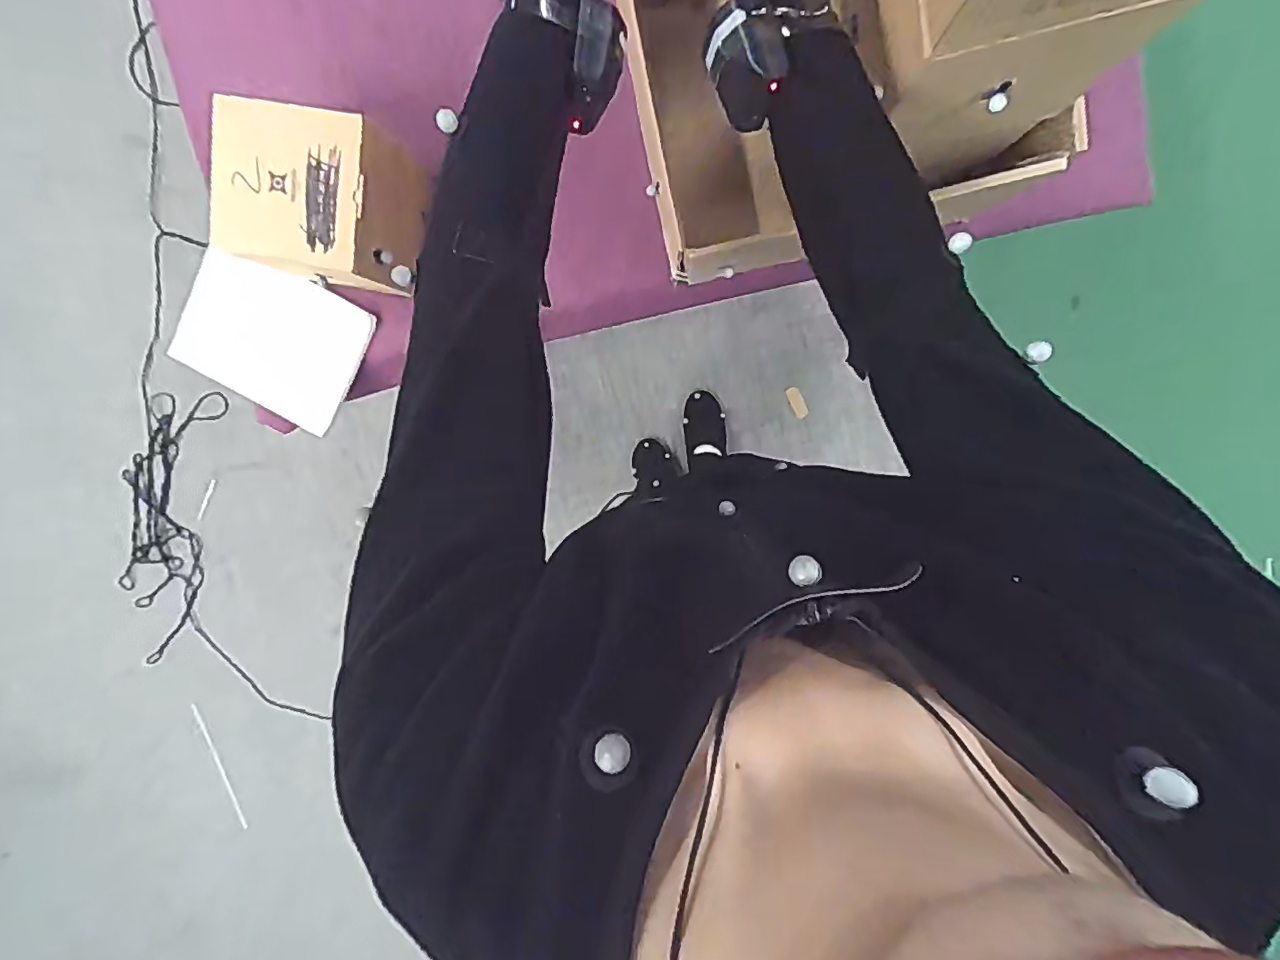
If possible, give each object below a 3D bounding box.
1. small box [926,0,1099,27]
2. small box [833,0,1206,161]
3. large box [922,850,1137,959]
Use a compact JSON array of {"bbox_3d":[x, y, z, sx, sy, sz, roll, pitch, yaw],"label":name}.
[{"bbox_3d":[0.236,-0.351,0.239,0.168,0.176,0.179,-9,97,8],"label":"small box"},{"bbox_3d":[0.257,-0.371,0.400,0.179,0.176,0.168,-9,98,9],"label":"small box"},{"bbox_3d":[1.085,1.327,1.482,0.408,0.320,0.320,-27,96,7],"label":"large box"}]
